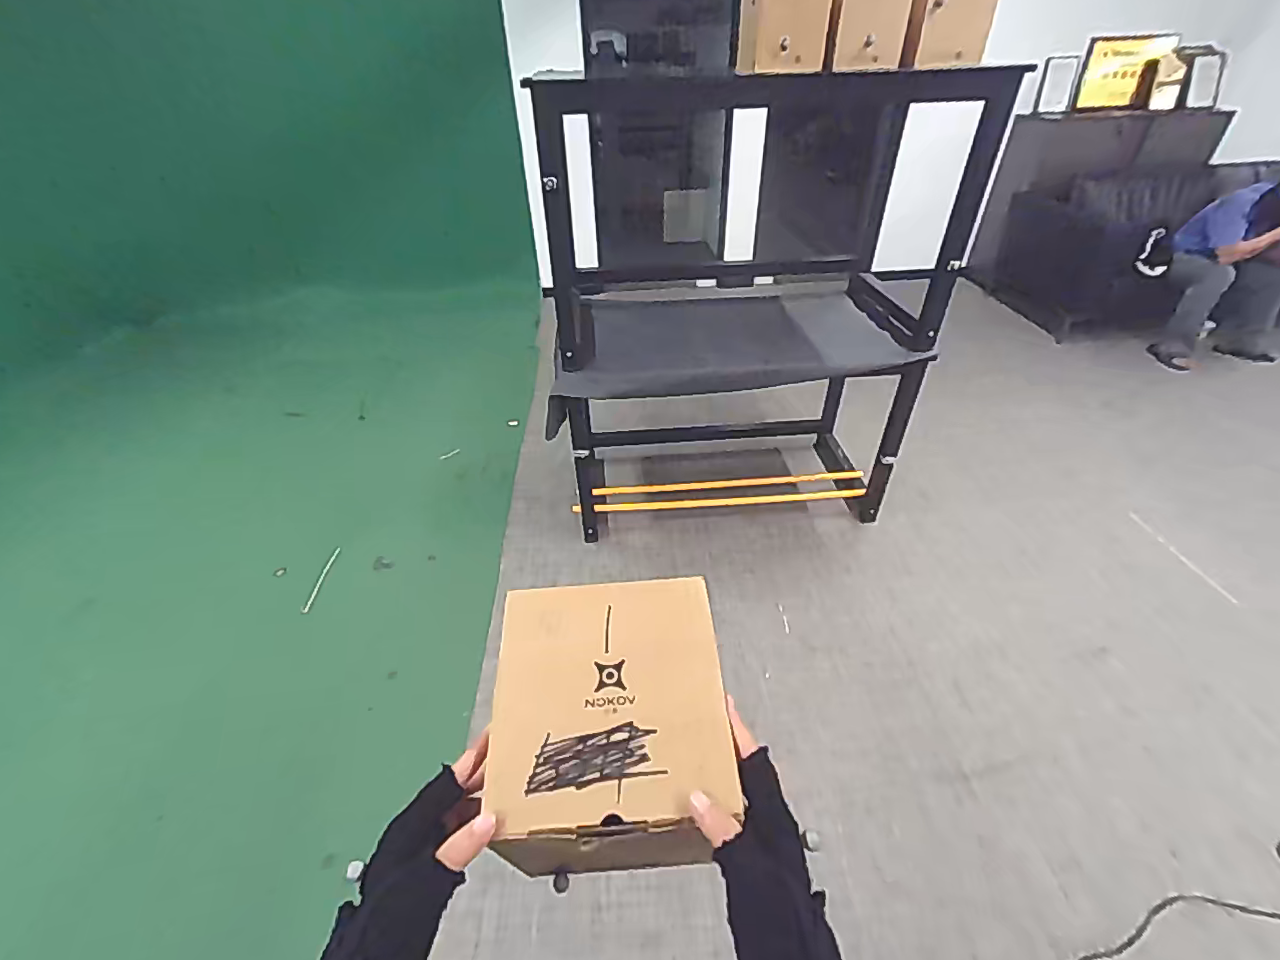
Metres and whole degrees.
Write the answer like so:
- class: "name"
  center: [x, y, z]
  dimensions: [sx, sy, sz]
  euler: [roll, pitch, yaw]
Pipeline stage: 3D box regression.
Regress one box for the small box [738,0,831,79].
- class: "small box"
  center: [0.338, -1.074, 1.297]
  dimensions: [0.168, 0.176, 0.179]
  euler: [-4, 39, -4]
